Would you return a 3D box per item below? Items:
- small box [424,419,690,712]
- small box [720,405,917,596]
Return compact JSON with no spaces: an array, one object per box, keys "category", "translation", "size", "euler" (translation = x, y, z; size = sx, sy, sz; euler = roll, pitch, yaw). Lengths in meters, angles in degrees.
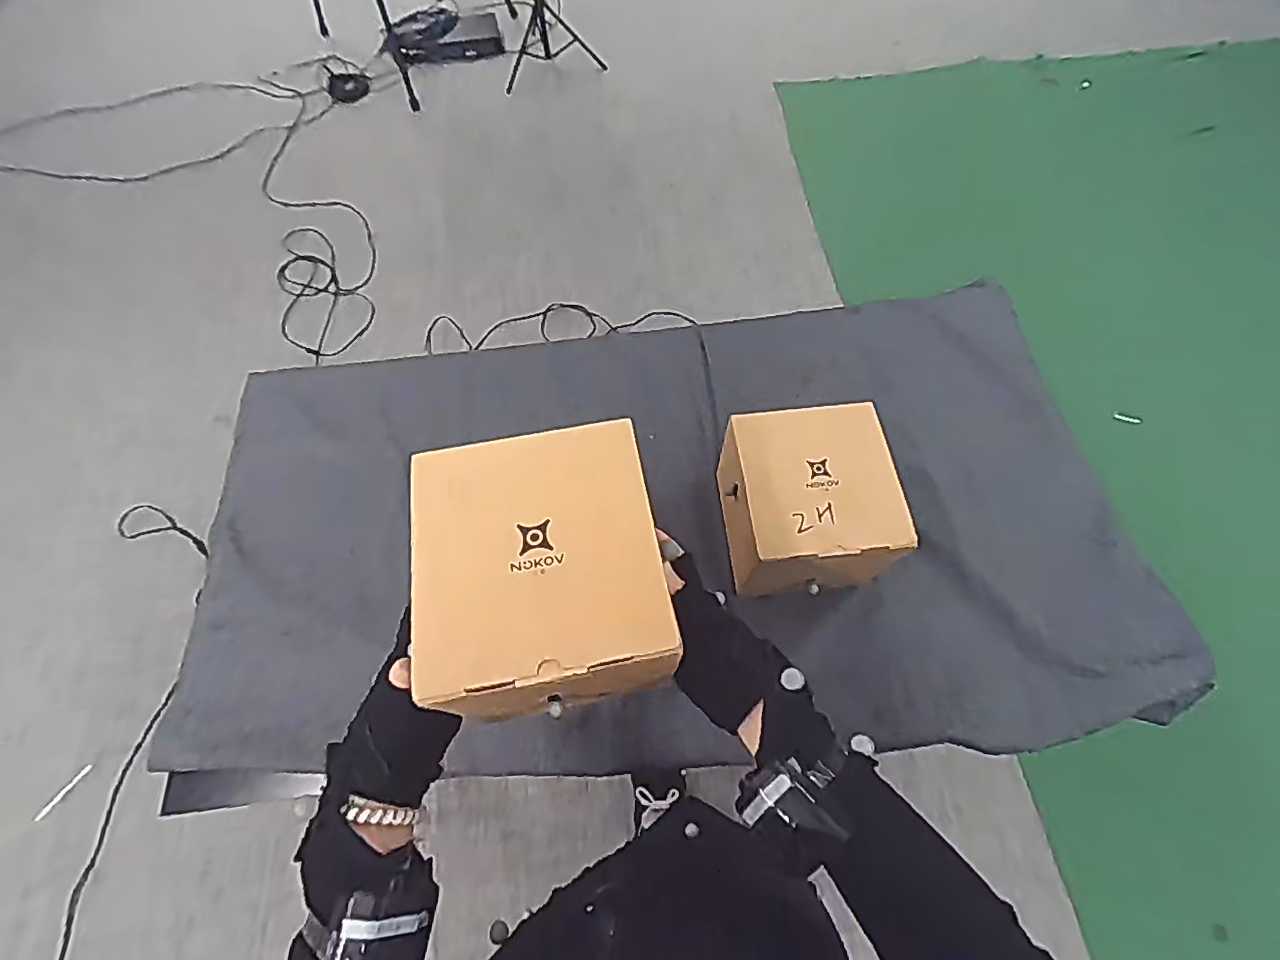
[{"category":"small box","translation":[-0.065,0.077,0.438],"size":[0.168,0.176,0.179],"euler":[-10,65,-5]},{"category":"small box","translation":[0.196,0.031,0.657],"size":[0.168,0.176,0.179],"euler":[-5,66,-1]}]
